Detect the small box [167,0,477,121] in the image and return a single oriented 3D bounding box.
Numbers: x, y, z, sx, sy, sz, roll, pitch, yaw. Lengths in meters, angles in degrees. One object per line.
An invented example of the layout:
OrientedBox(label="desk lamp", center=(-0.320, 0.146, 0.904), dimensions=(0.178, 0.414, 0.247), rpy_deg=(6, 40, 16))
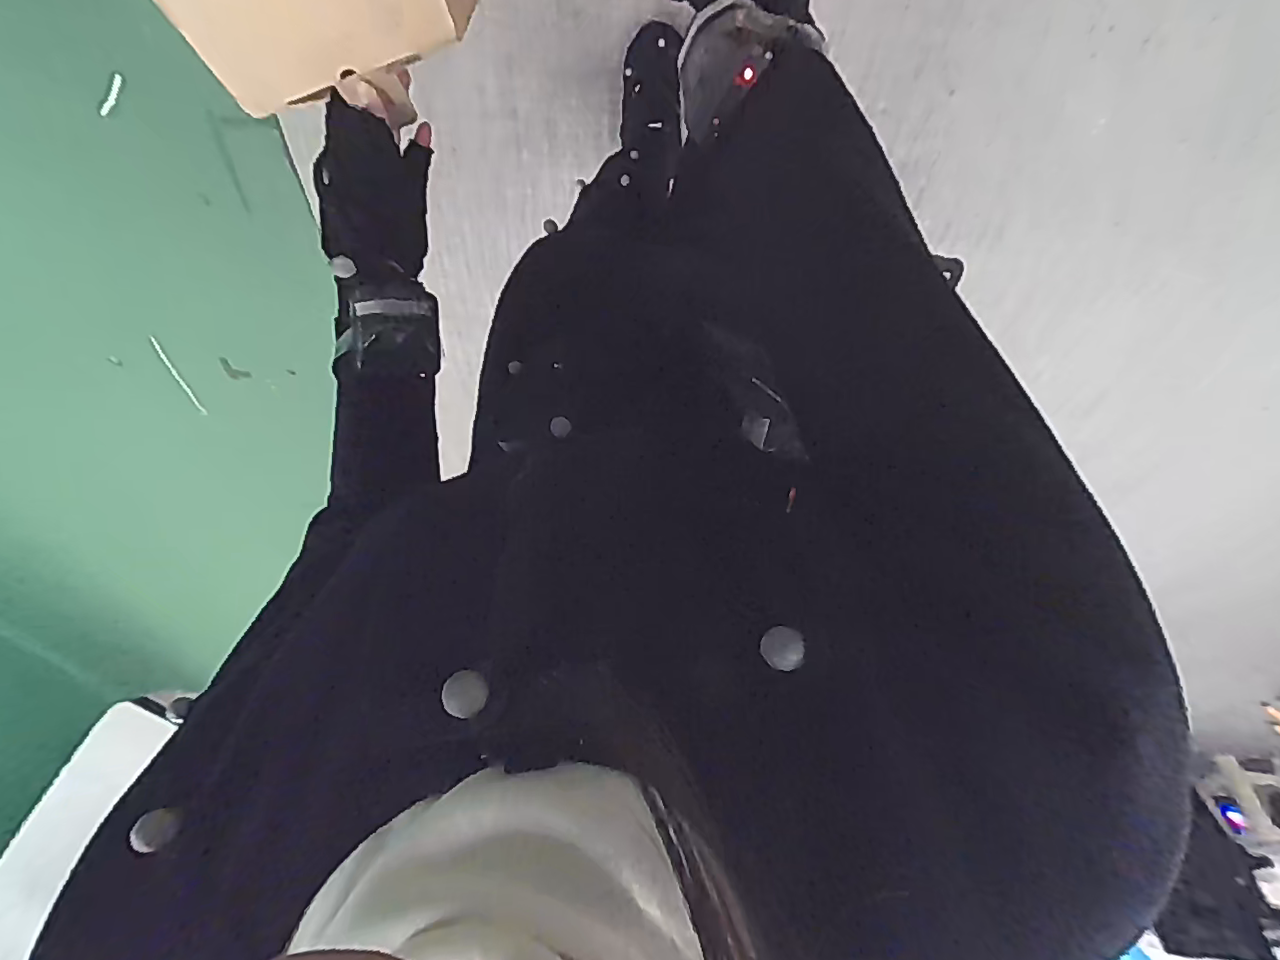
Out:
OrientedBox(label="small box", center=(-0.208, -0.375, 0.335), dimensions=(0.168, 0.176, 0.179), rpy_deg=(-10, 145, 13))
